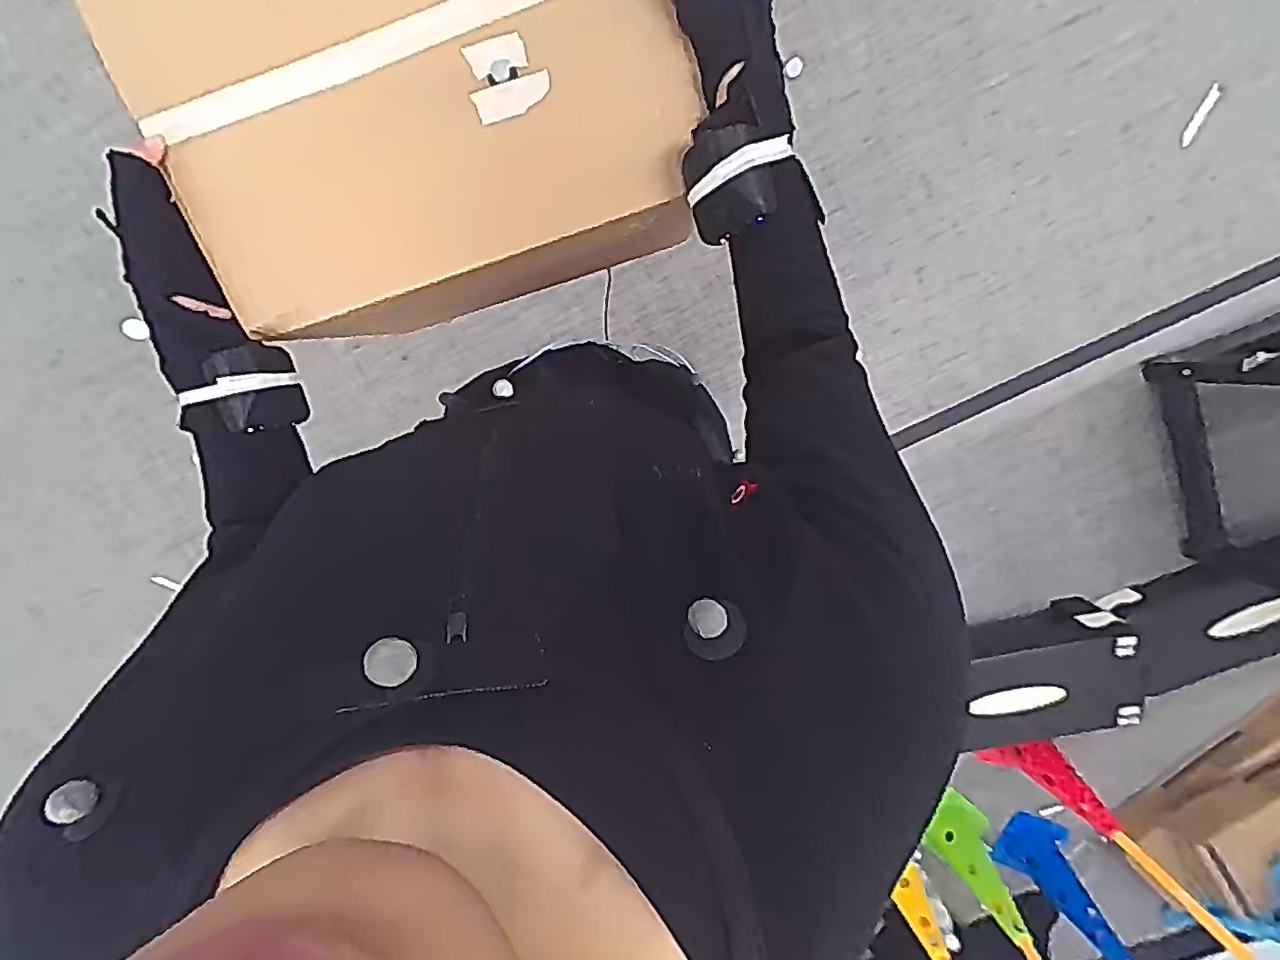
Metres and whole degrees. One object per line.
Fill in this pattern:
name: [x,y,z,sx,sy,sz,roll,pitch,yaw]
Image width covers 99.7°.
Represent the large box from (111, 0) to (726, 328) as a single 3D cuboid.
large box: [-0.169,-0.365,0.540,0.408,0.320,0.320,-17,107,3]
